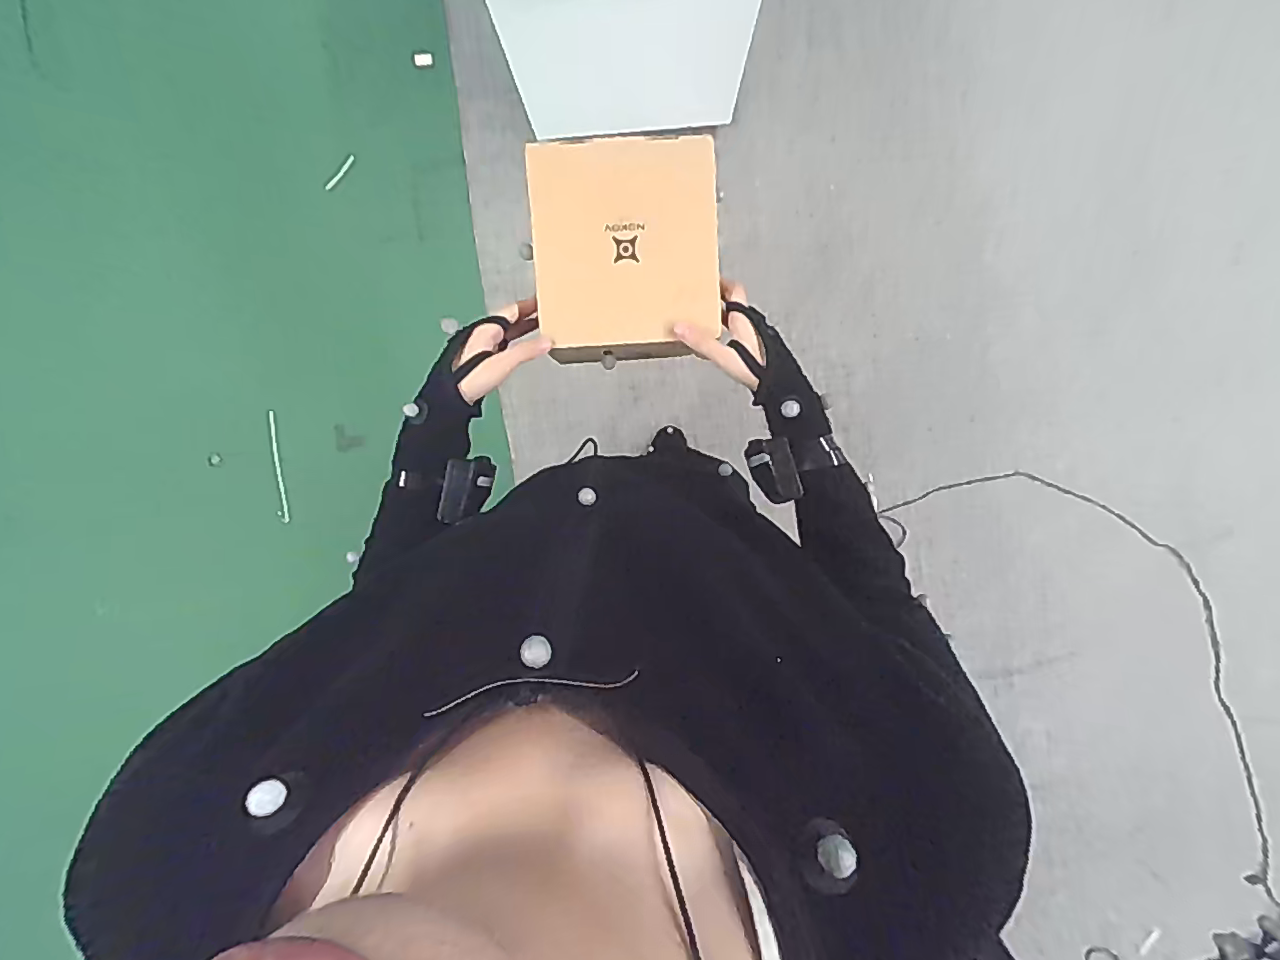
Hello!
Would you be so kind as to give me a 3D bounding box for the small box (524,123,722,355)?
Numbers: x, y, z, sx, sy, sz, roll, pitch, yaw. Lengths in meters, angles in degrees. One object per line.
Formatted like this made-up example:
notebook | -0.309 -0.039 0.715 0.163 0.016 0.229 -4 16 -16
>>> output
small box | -0.015 -0.222 0.545 0.168 0.176 0.179 -4 97 -3
